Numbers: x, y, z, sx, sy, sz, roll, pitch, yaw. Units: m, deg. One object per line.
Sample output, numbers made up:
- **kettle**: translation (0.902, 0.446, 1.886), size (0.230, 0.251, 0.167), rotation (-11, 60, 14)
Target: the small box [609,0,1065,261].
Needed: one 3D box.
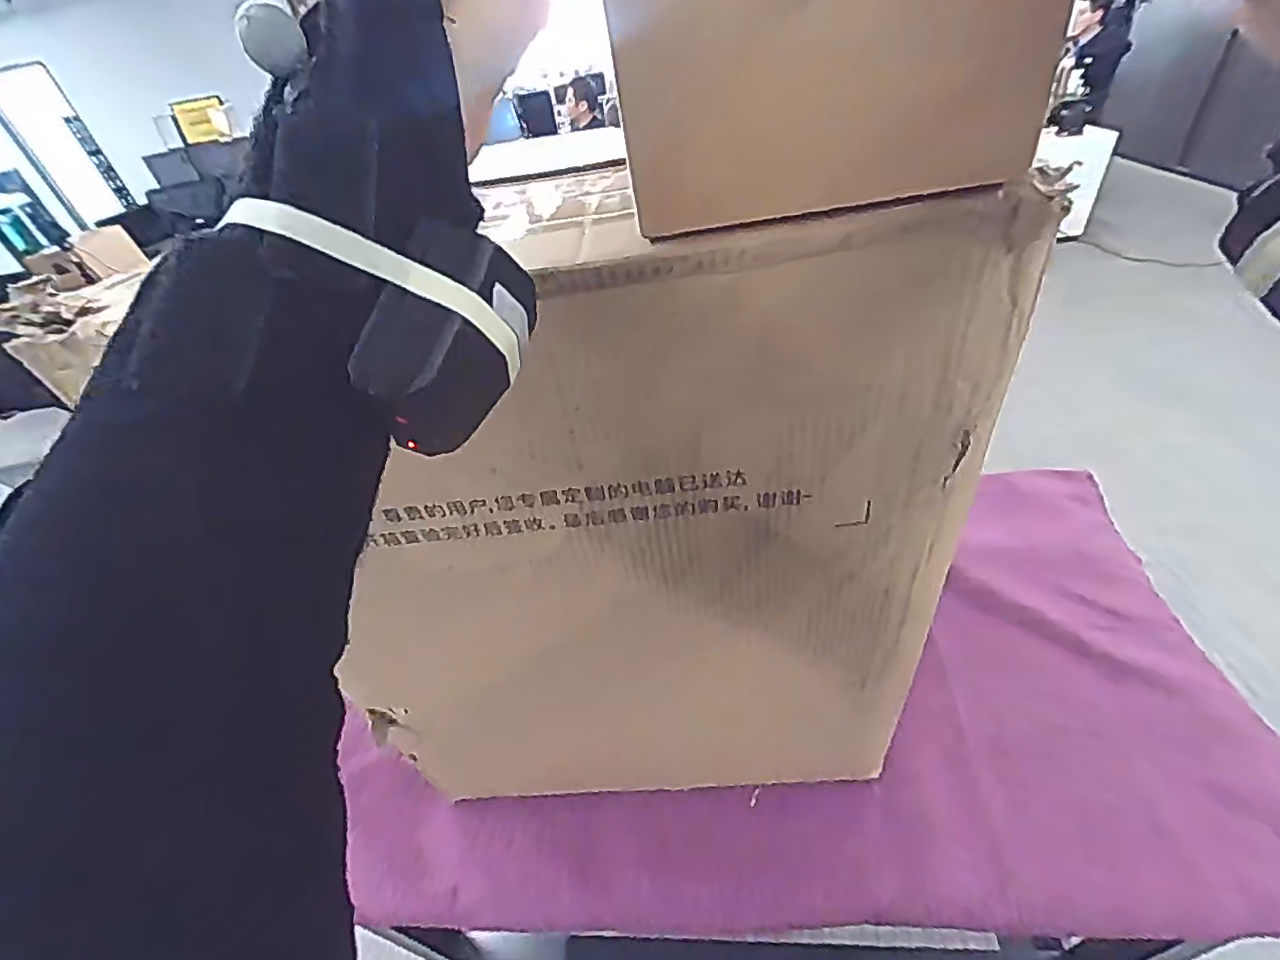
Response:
- **small box**: translation (0.074, -0.227, 0.254), size (0.168, 0.176, 0.179), rotation (-4, 40, 9)
